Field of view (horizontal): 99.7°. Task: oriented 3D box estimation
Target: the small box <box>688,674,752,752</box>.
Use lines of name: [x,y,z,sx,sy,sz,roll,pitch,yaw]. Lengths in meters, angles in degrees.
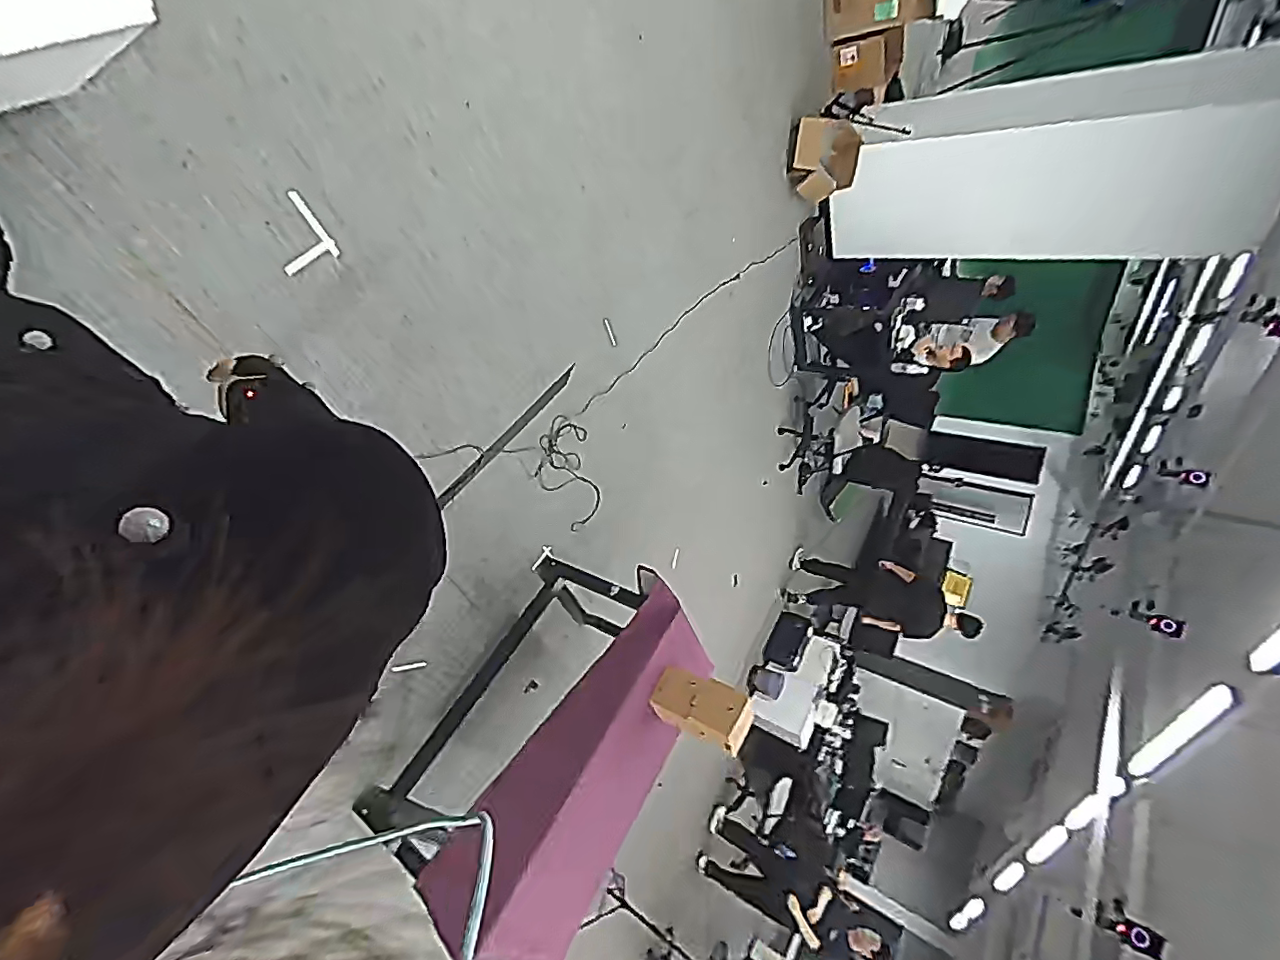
small box: [0.296,0.854,1.999,0.179,0.176,0.168,-48,138,-34]
